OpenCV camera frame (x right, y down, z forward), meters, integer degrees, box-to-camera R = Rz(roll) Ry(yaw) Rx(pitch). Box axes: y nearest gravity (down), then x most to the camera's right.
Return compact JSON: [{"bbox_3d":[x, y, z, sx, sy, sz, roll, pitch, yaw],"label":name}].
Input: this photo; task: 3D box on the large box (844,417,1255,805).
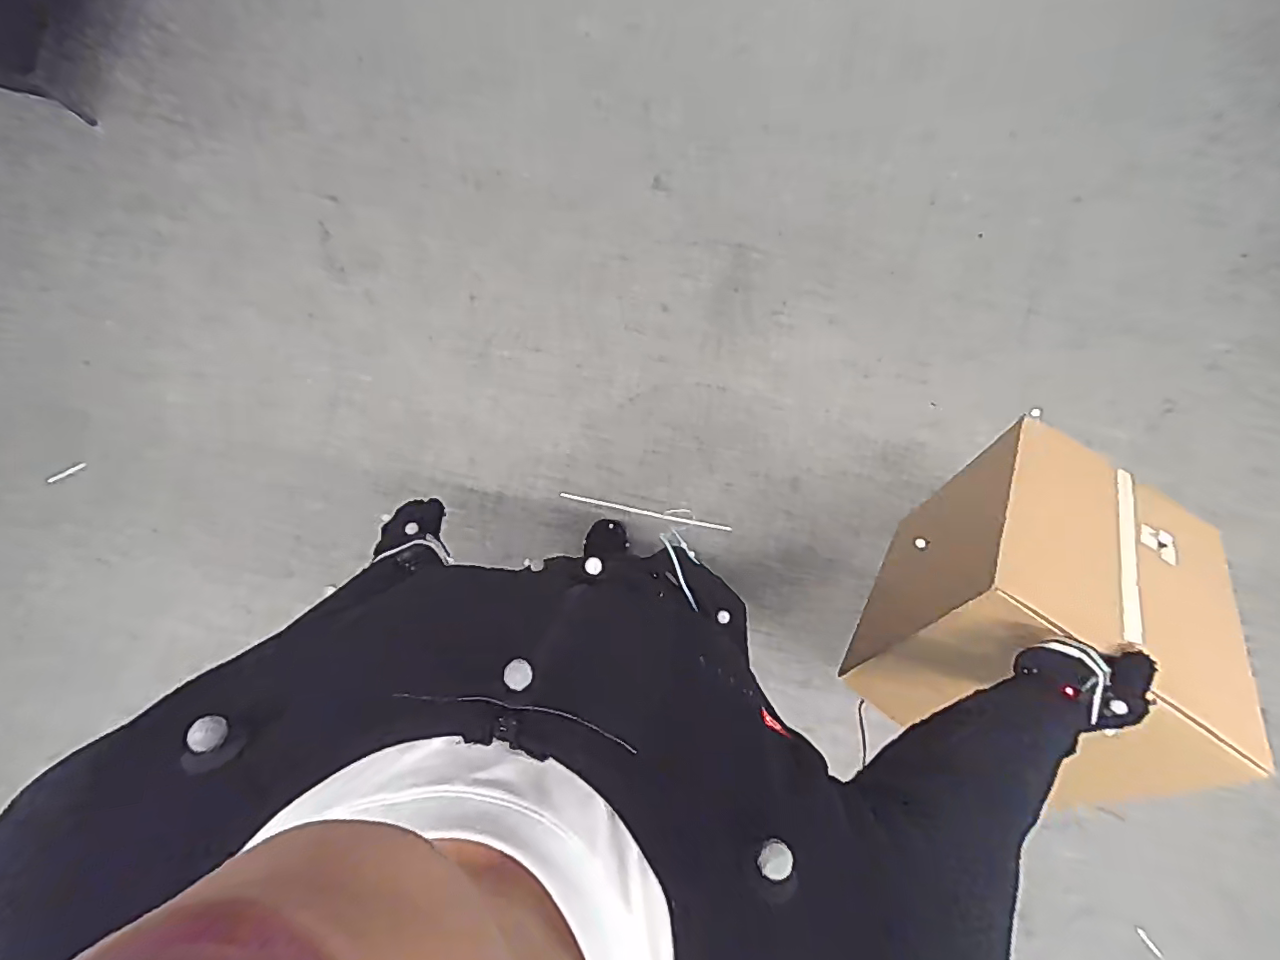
[{"bbox_3d":[0.568,0.186,0.814,0.320,0.320,0.408,37,49,9],"label":"large box"}]
